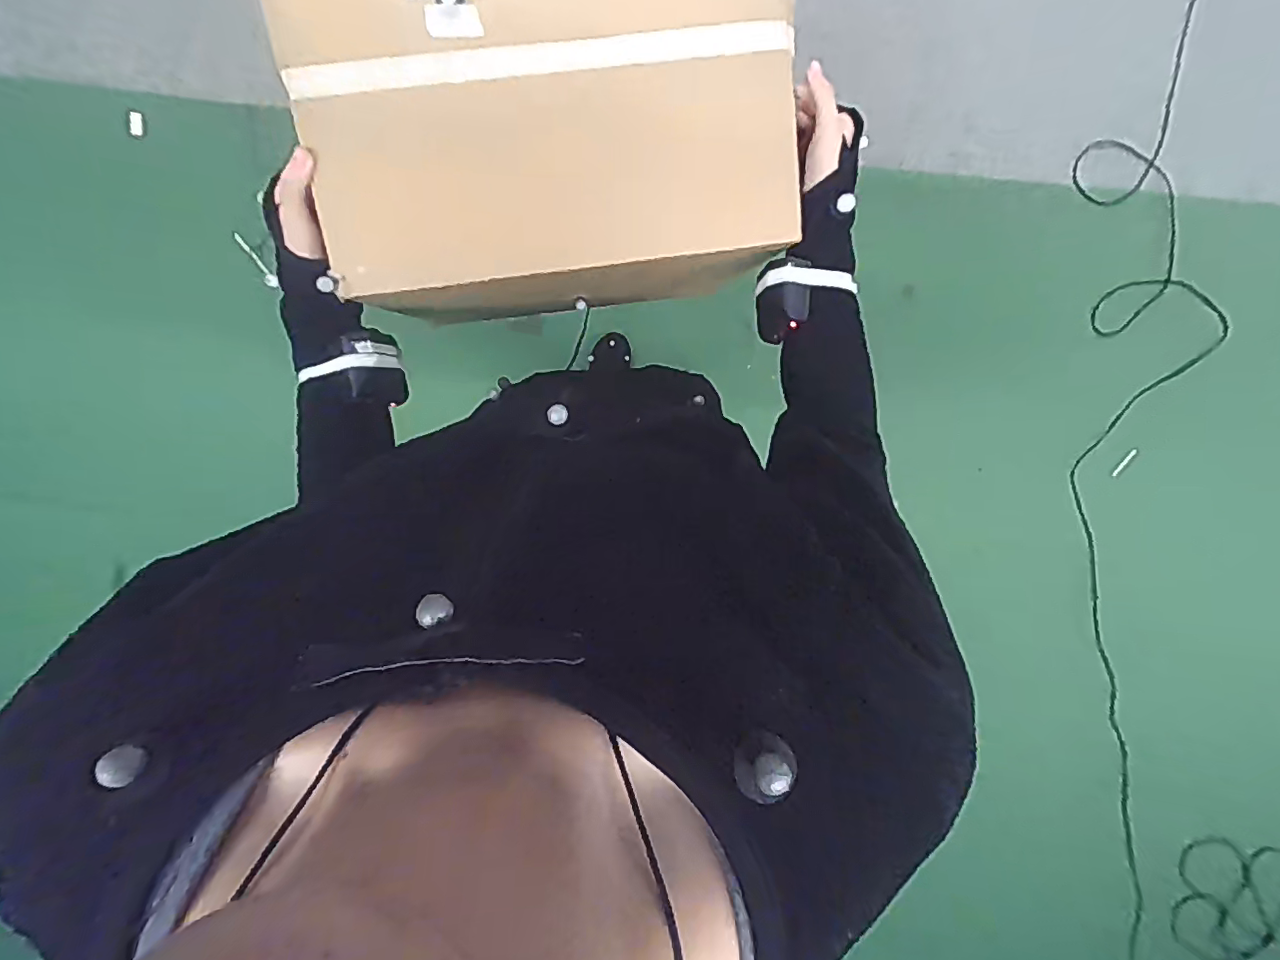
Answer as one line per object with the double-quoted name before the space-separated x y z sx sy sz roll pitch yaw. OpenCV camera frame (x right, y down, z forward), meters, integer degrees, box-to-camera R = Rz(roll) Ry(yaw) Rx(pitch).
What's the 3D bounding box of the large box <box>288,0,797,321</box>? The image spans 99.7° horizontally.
"large box" -0.083 -0.365 0.595 0.408 0.320 0.320 -8 102 -4
